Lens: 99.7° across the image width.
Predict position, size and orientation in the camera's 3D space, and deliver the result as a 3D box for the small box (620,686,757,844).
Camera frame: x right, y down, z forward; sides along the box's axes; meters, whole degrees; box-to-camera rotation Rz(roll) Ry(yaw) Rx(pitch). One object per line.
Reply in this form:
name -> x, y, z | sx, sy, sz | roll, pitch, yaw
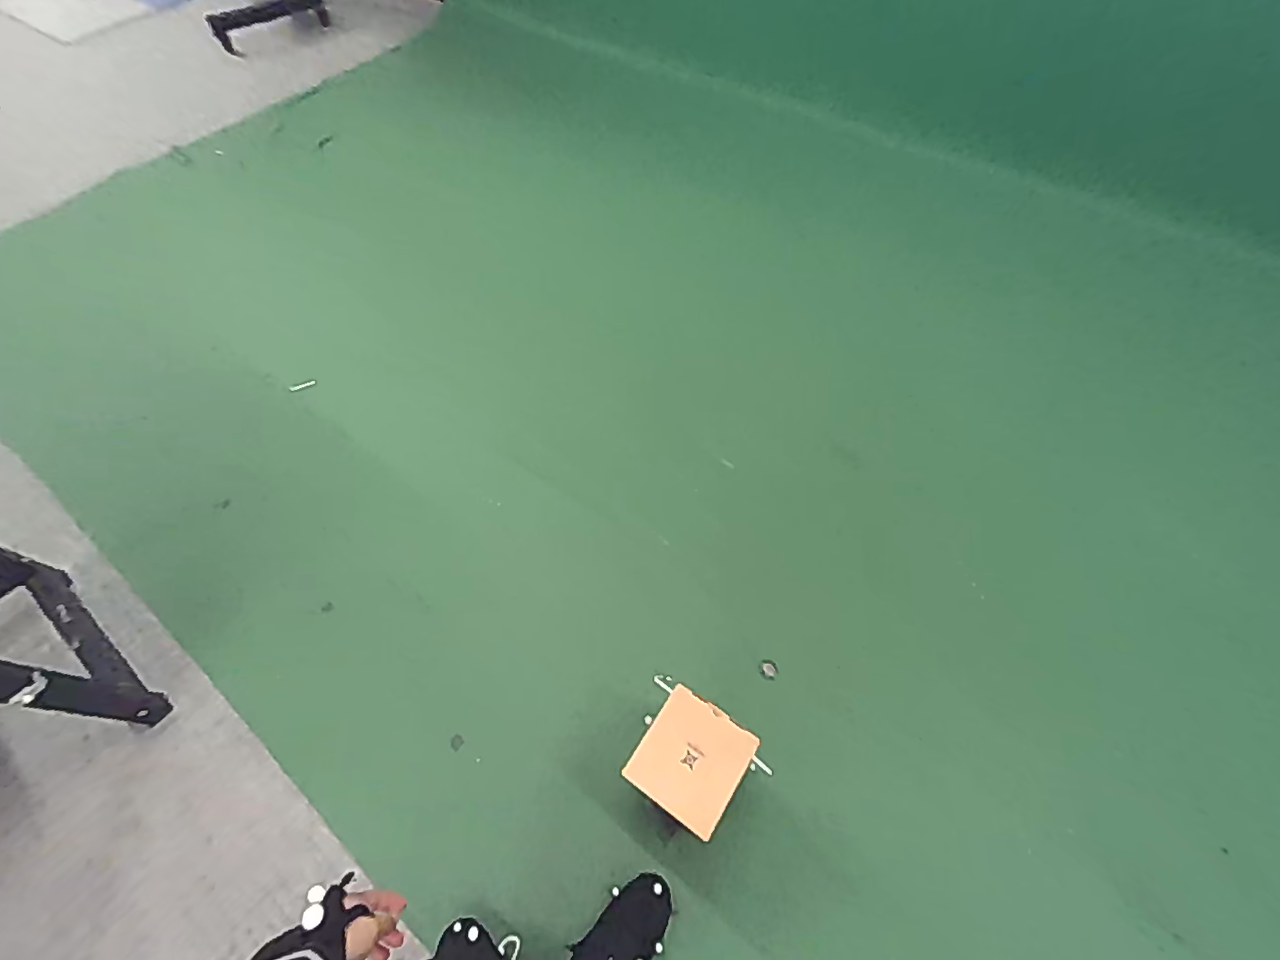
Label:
small box -> 0.085, 0.499, 0.951 | 0.168, 0.176, 0.179 | 30, 64, 19
